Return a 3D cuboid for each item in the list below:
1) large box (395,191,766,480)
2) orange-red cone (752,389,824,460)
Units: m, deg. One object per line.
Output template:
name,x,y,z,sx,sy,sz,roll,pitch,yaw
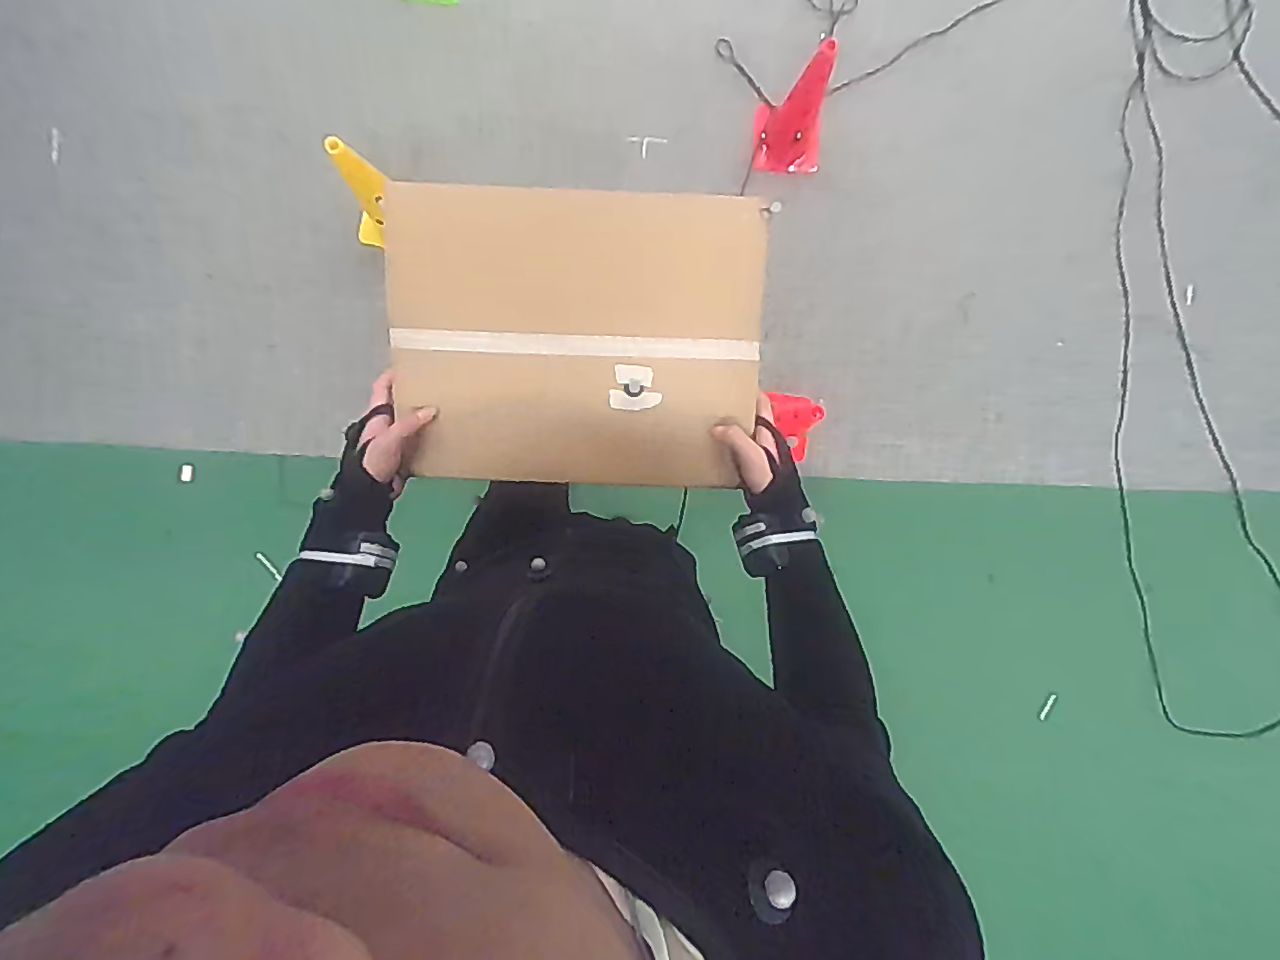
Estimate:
large box,-0.069,-0.182,0.751,0.408,0.320,0.320,1,102,-1
orange-red cone,0.420,-0.163,1.471,0.199,0.360,0.198,10,91,-3
